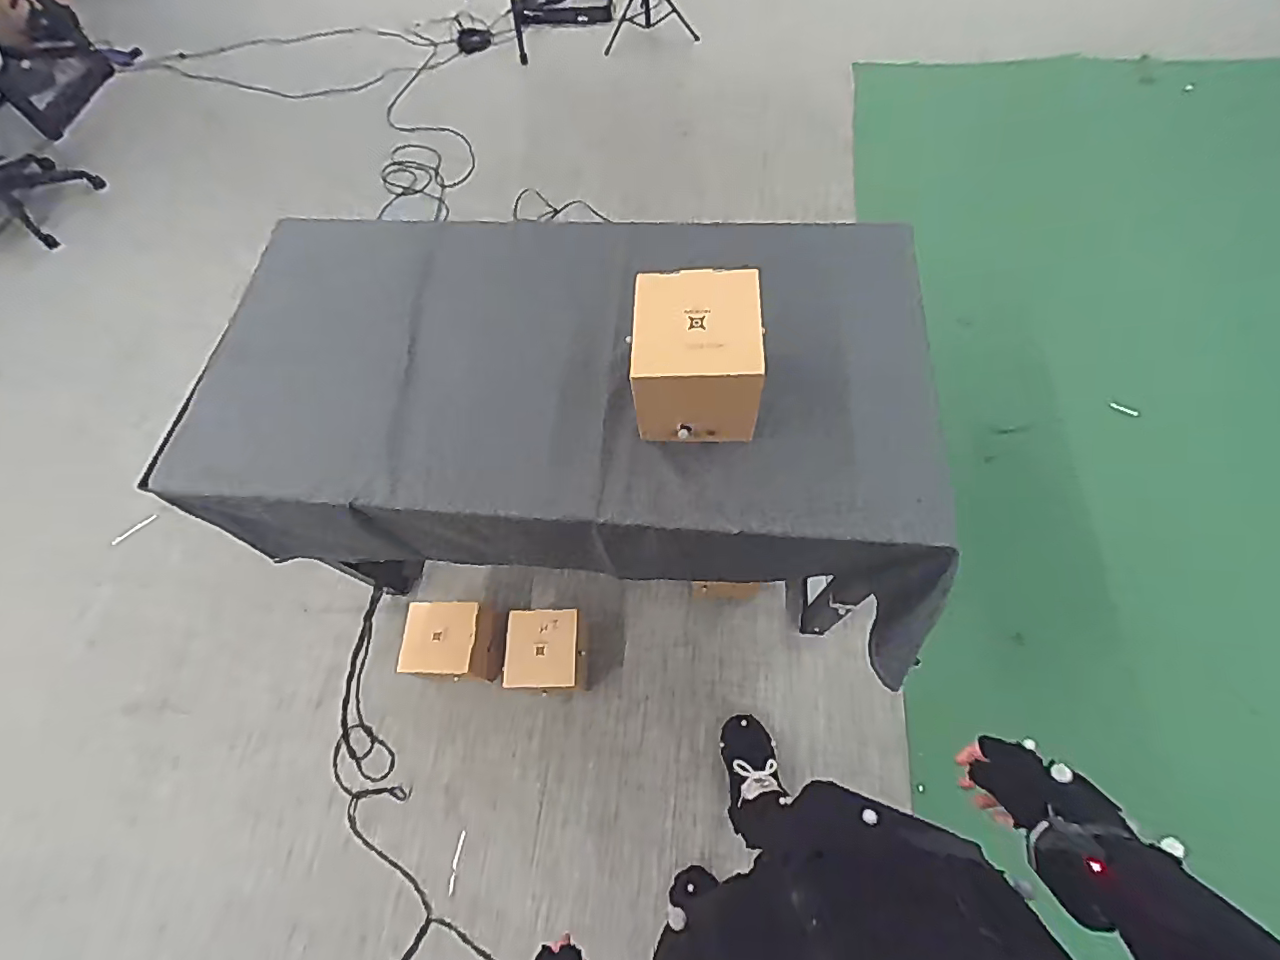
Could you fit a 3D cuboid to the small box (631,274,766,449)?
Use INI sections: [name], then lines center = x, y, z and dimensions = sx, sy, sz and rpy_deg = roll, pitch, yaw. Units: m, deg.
[small box]
center = 0.081, -0.161, 0.756
dimensions = 0.168, 0.176, 0.179
rpy_deg = 0, 65, 6
